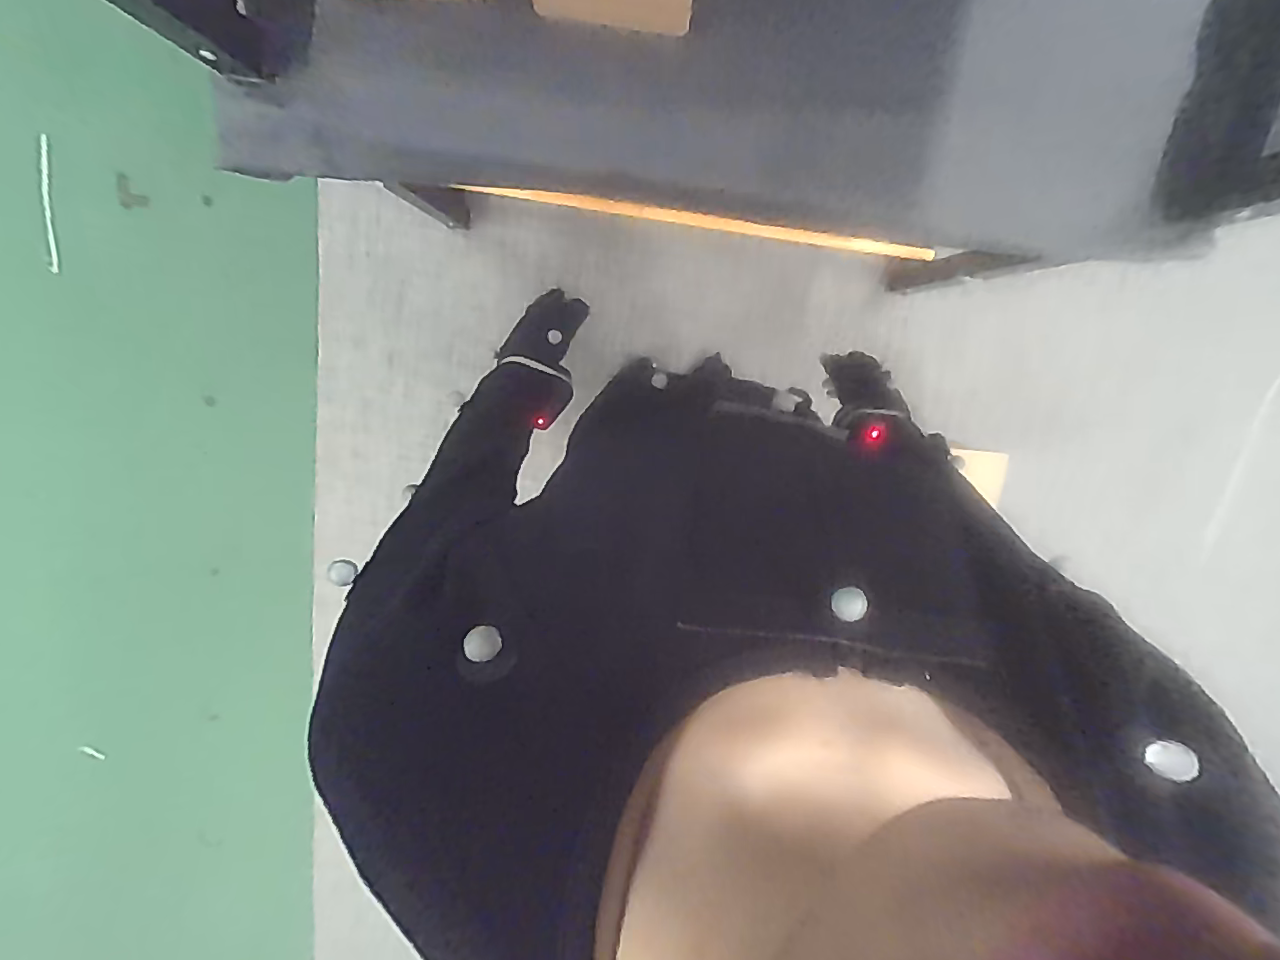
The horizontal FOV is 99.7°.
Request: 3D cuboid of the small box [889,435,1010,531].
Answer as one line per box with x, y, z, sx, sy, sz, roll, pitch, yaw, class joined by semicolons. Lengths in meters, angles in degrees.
0.693;0.002;1.234;0.168;0.176;0.179;5;103;-1;small box
